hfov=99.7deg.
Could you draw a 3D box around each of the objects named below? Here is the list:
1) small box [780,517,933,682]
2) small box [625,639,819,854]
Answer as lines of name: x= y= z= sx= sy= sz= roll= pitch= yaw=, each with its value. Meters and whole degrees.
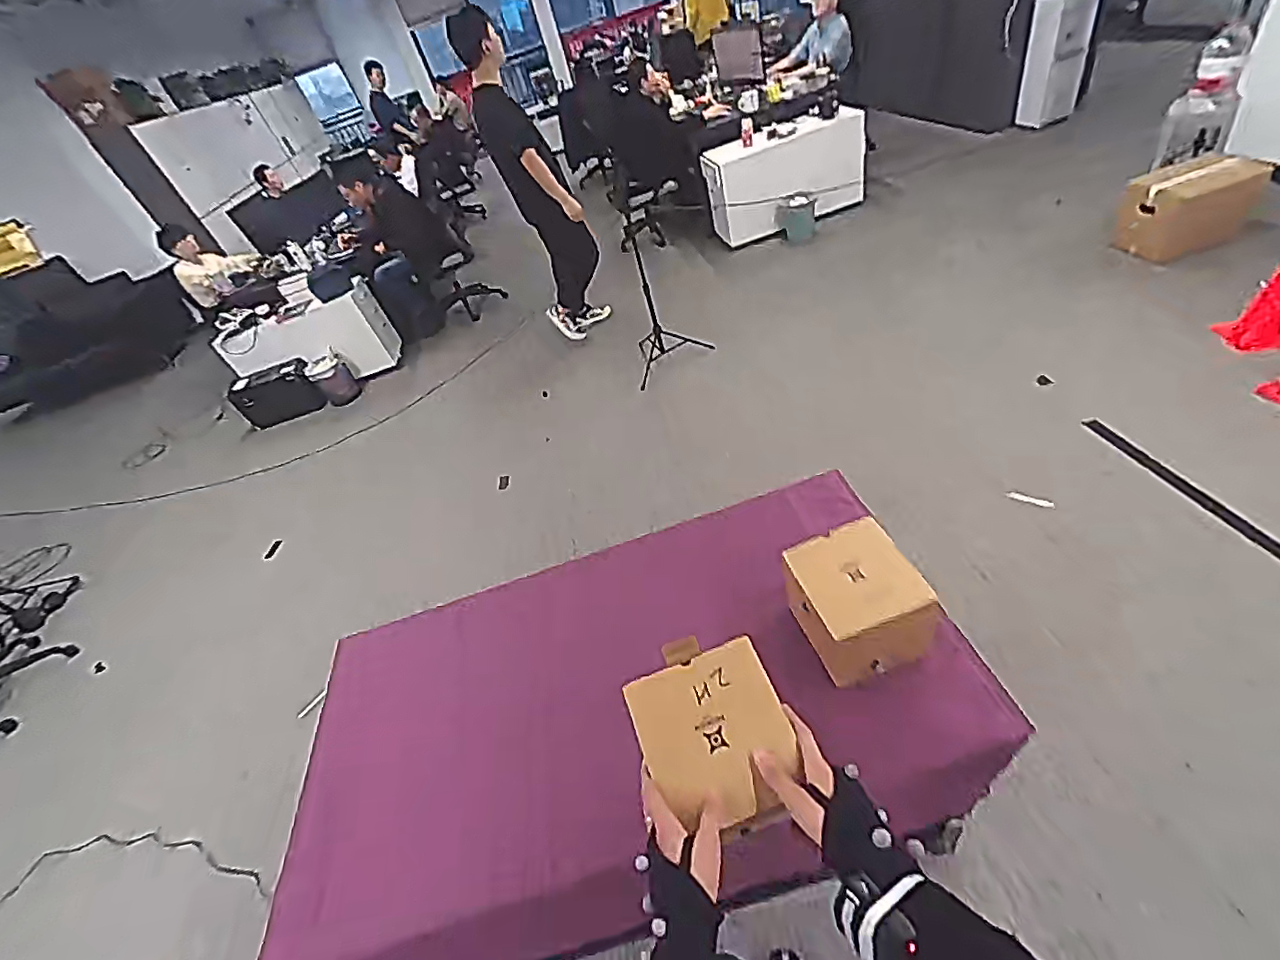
small box: x=0.351 y=0.199 z=0.898 sx=0.168 sy=0.176 sz=0.179 roll=-22 pitch=41 yaw=0
small box: x=0.097 y=0.330 z=0.662 sx=0.168 sy=0.176 sz=0.179 roll=-21 pitch=52 yaw=-5
